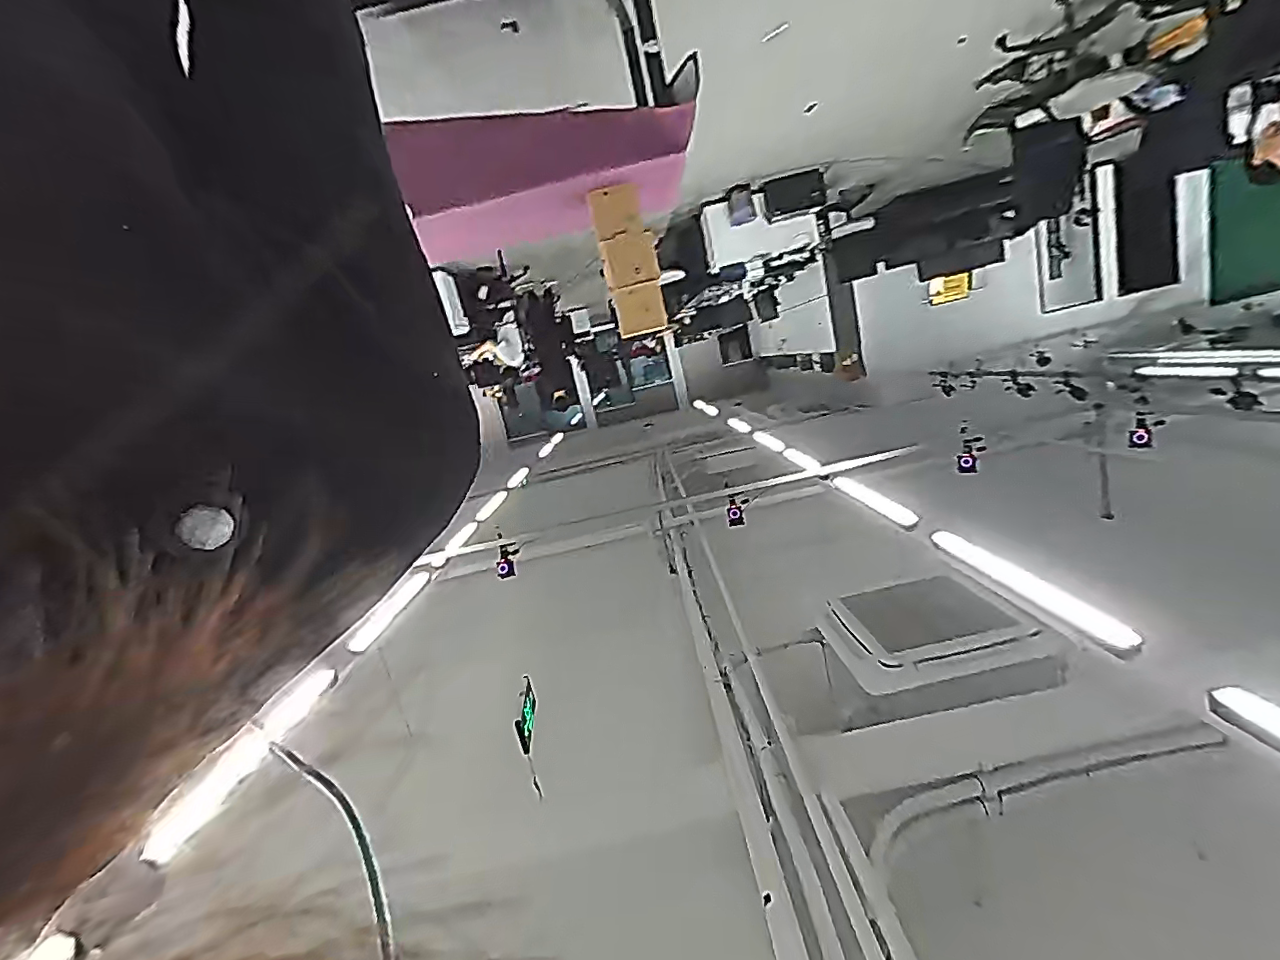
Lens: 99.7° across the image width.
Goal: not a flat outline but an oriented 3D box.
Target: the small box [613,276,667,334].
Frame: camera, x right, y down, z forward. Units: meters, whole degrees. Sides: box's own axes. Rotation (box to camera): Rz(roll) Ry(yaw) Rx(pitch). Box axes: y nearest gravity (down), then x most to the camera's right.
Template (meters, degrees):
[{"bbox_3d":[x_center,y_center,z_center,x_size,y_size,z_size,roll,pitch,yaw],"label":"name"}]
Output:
[{"bbox_3d":[-0.004,-0.650,2.004,0.168,0.176,0.179,-14,-167,0],"label":"small box"}]

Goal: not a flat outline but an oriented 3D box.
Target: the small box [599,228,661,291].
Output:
[{"bbox_3d":[-0.041,-0.806,1.974,0.179,0.176,0.168,-15,-168,-6],"label":"small box"}]
